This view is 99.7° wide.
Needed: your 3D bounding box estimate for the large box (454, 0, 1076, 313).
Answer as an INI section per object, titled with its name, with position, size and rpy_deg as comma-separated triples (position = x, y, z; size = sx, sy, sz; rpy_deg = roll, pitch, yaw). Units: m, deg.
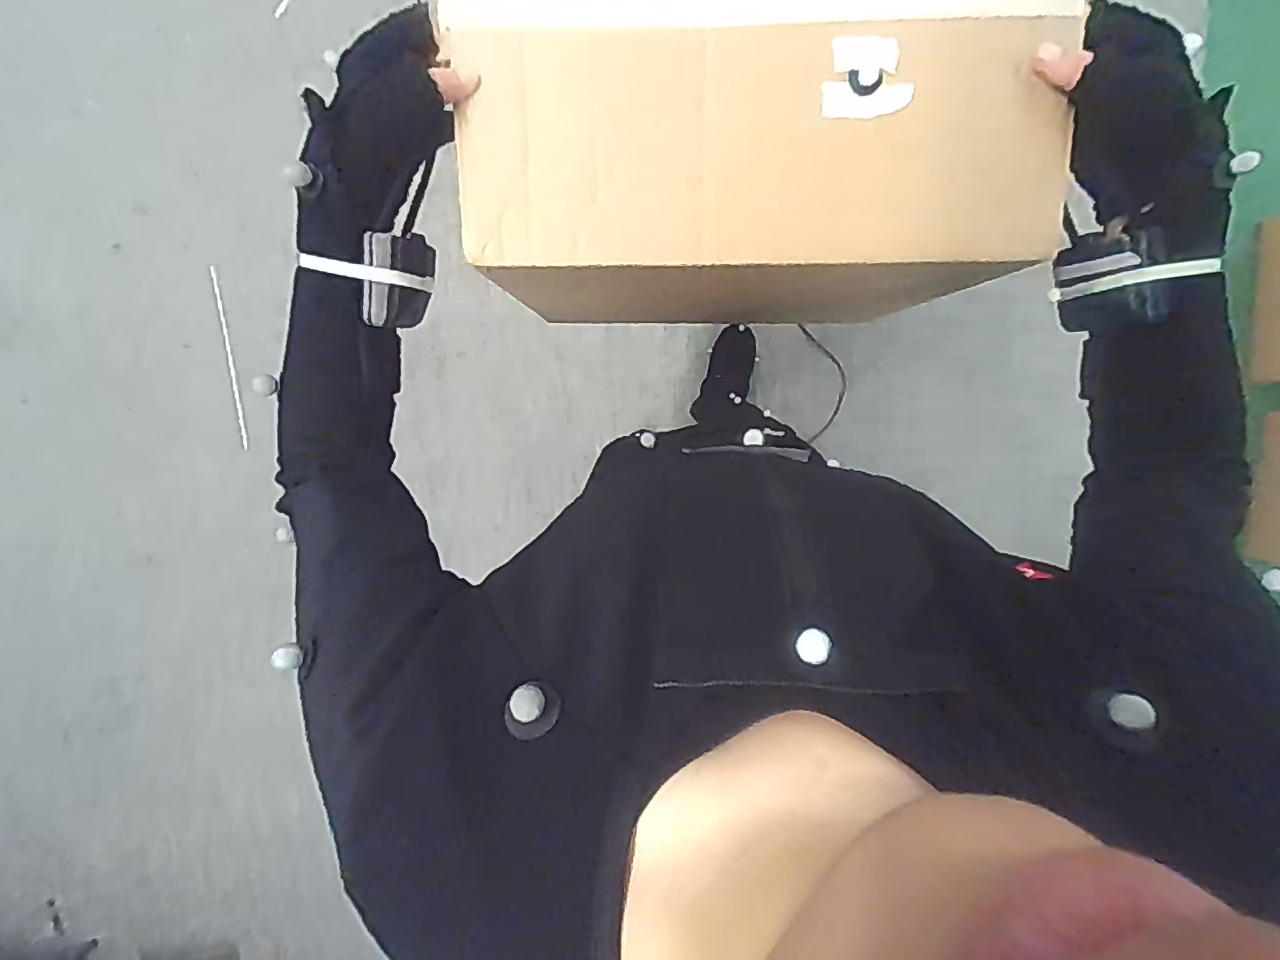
[large box]
position = 0.076, -0.335, 0.490
size = 0.408, 0.320, 0.320
rpy_deg = 0, 100, 0
